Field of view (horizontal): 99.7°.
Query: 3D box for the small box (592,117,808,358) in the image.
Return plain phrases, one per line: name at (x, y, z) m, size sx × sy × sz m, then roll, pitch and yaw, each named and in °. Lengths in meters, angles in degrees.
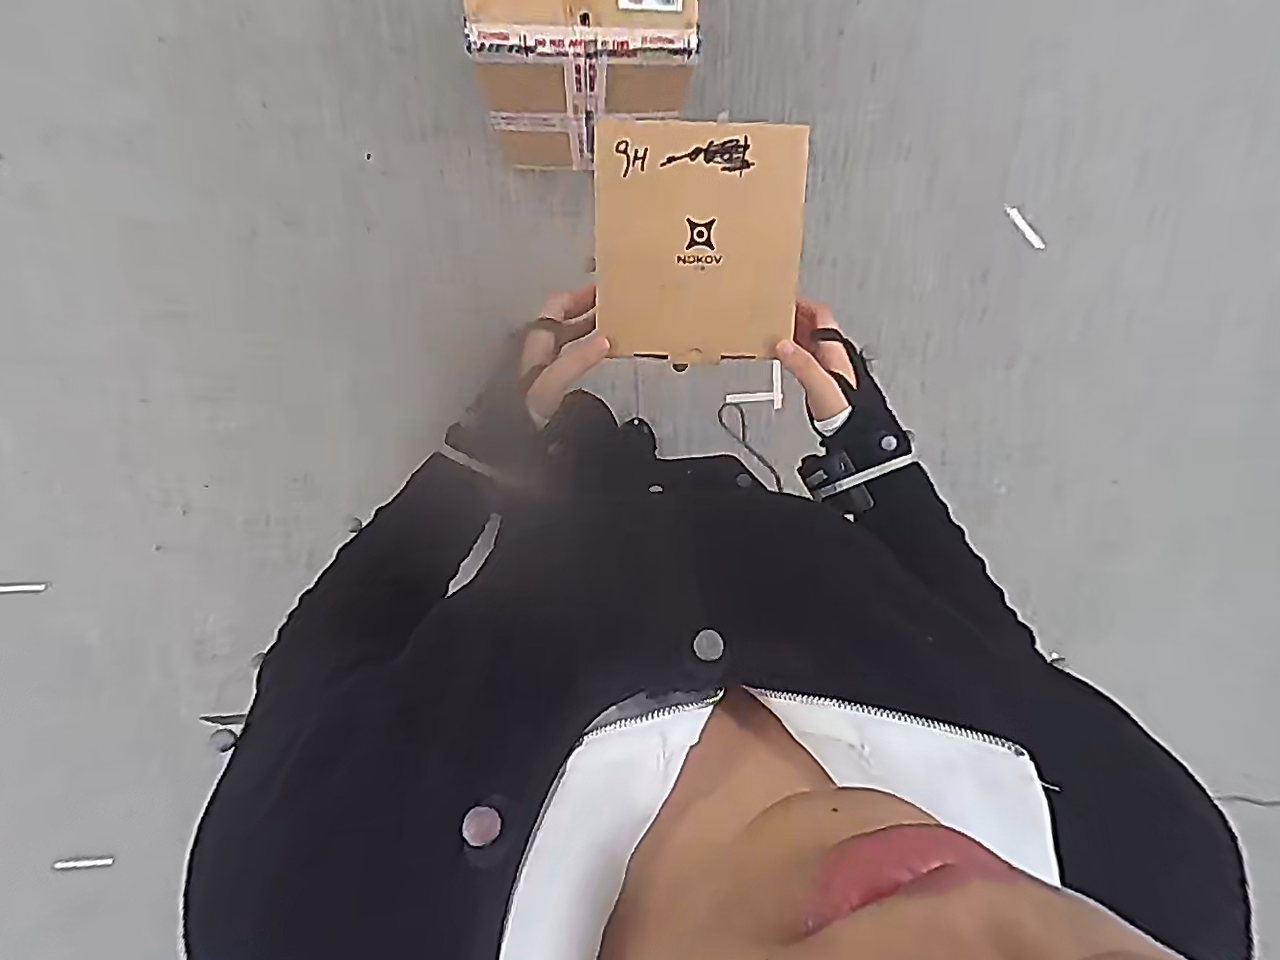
small box at (0.043, -0.209, 0.505) m, size 0.168 × 0.176 × 0.179 m, roll -1°, pitch 105°, yaw -2°
